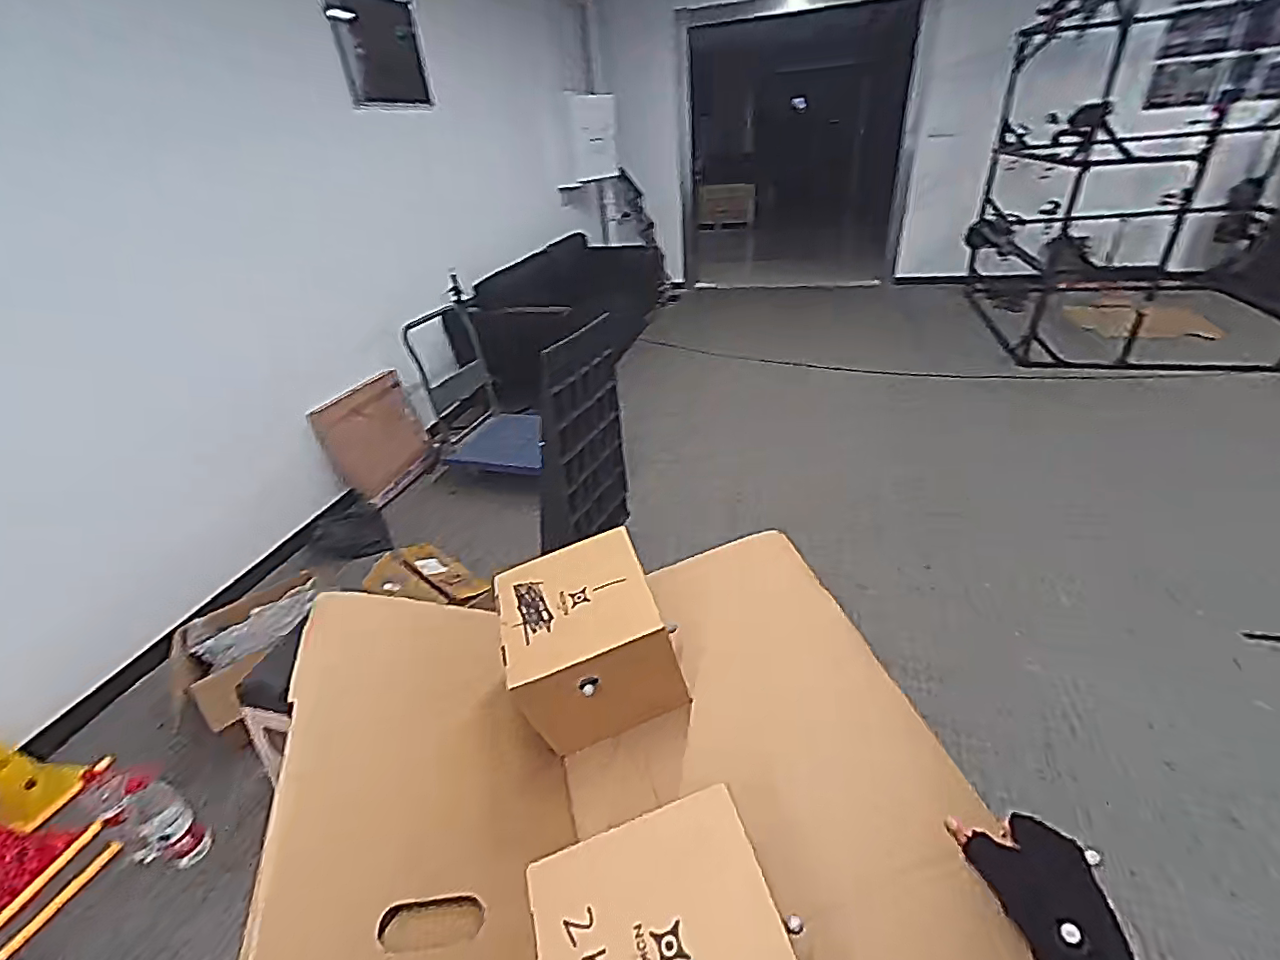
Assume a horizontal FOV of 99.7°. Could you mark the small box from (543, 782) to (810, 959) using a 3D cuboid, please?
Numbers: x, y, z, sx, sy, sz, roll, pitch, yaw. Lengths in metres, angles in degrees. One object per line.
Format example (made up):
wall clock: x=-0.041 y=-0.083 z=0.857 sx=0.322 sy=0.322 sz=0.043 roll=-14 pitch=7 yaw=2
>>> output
small box: x=0.040 y=0.385 z=0.438 sx=0.179 sy=0.176 sz=0.168 roll=-21 pitch=40 yaw=-2
